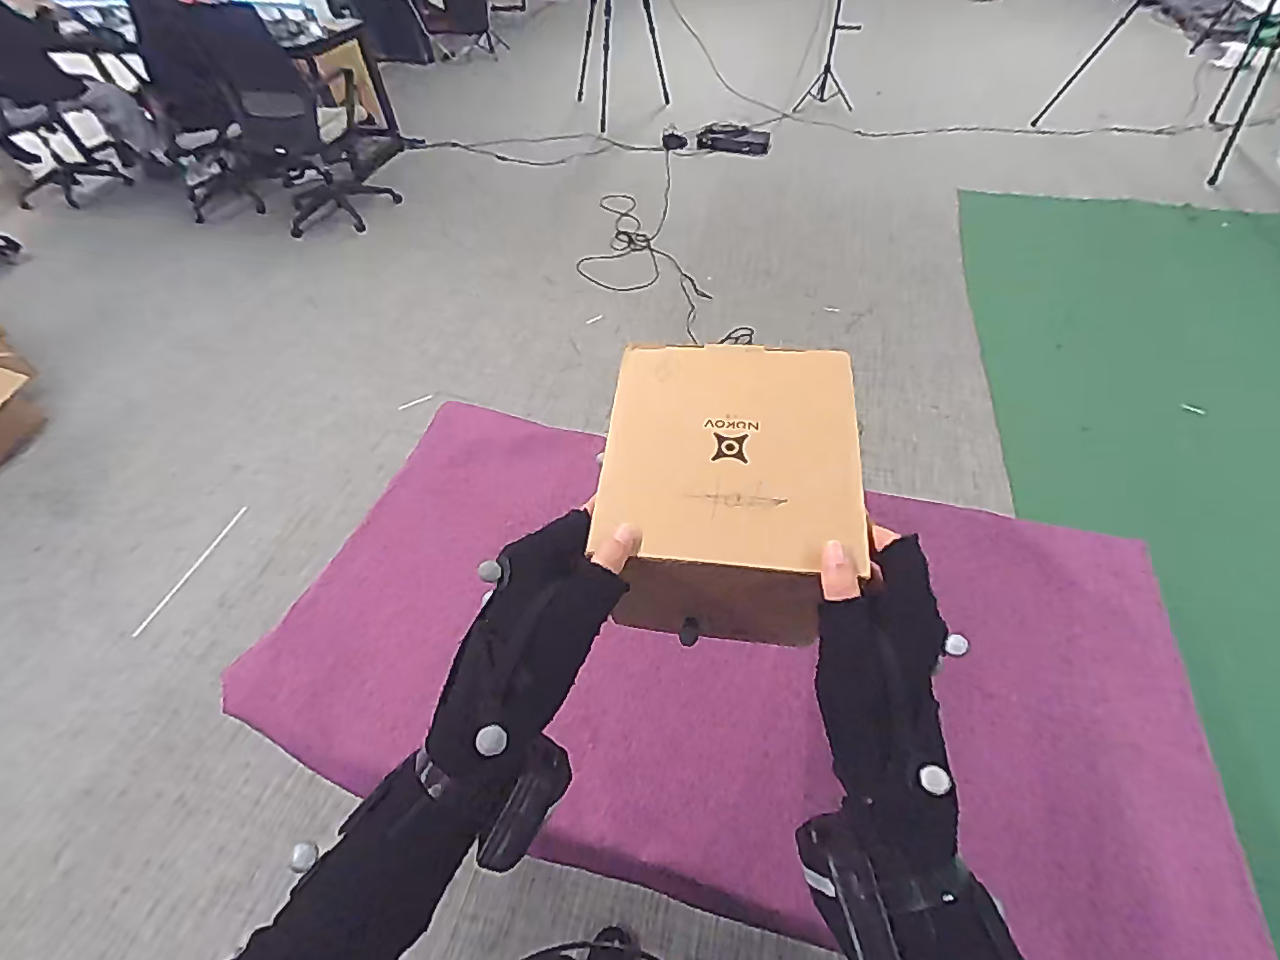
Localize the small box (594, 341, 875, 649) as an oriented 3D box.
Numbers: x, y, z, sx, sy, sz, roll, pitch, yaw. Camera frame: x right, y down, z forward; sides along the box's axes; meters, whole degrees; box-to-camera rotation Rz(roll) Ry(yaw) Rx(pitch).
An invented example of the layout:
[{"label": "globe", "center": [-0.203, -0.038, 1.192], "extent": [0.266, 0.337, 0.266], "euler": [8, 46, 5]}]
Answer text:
[{"label": "small box", "center": [0.067, 0.017, 0.422], "extent": [0.168, 0.176, 0.179], "euler": [4, 60, 7]}]
